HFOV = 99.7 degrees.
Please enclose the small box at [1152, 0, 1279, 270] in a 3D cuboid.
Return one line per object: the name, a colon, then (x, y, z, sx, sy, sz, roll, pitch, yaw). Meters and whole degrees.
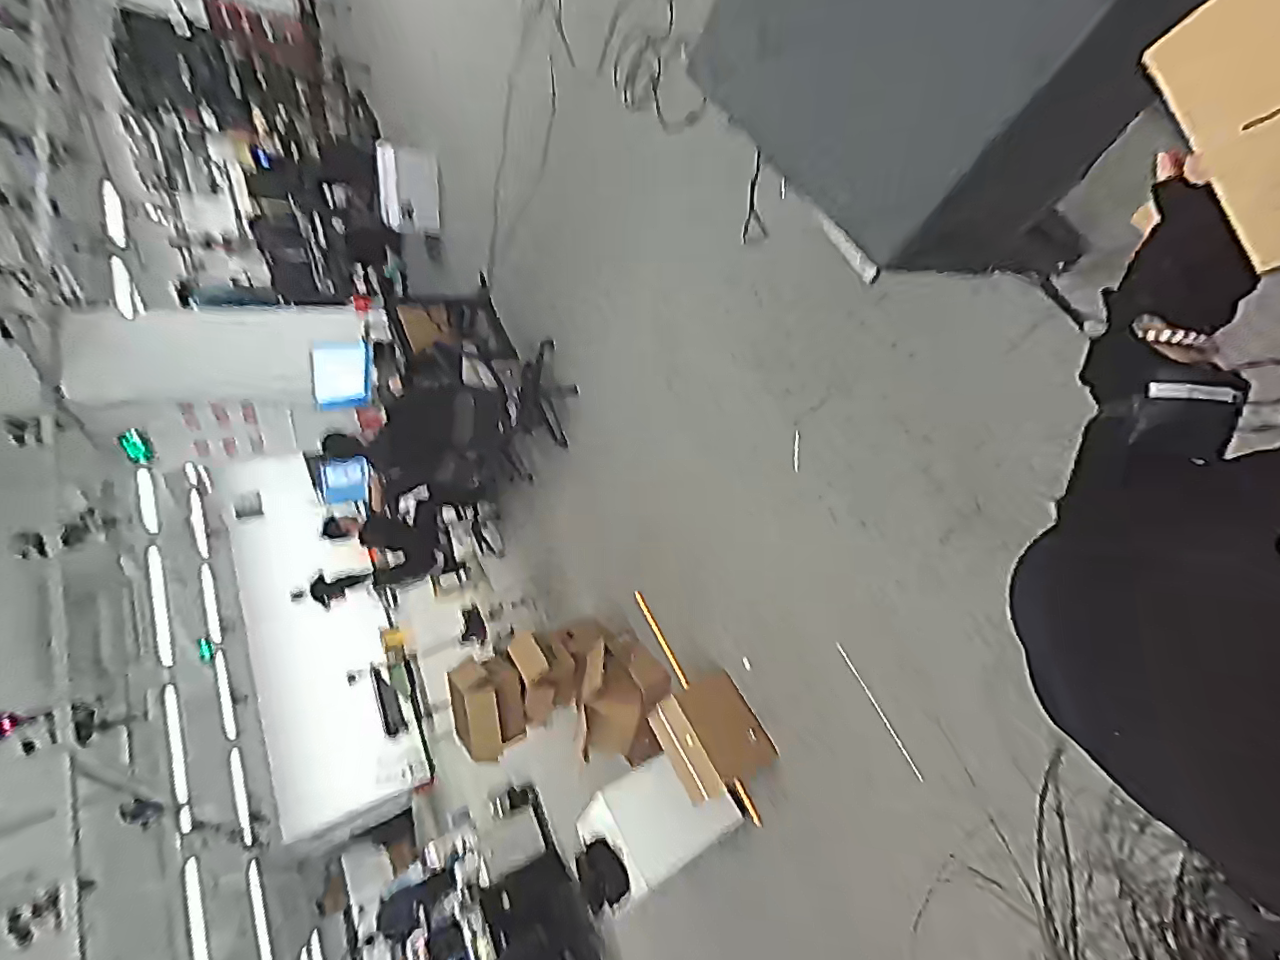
small box: (0.462, -0.246, 0.310, 0.179, 0.176, 0.168, -30, 77, 60)
